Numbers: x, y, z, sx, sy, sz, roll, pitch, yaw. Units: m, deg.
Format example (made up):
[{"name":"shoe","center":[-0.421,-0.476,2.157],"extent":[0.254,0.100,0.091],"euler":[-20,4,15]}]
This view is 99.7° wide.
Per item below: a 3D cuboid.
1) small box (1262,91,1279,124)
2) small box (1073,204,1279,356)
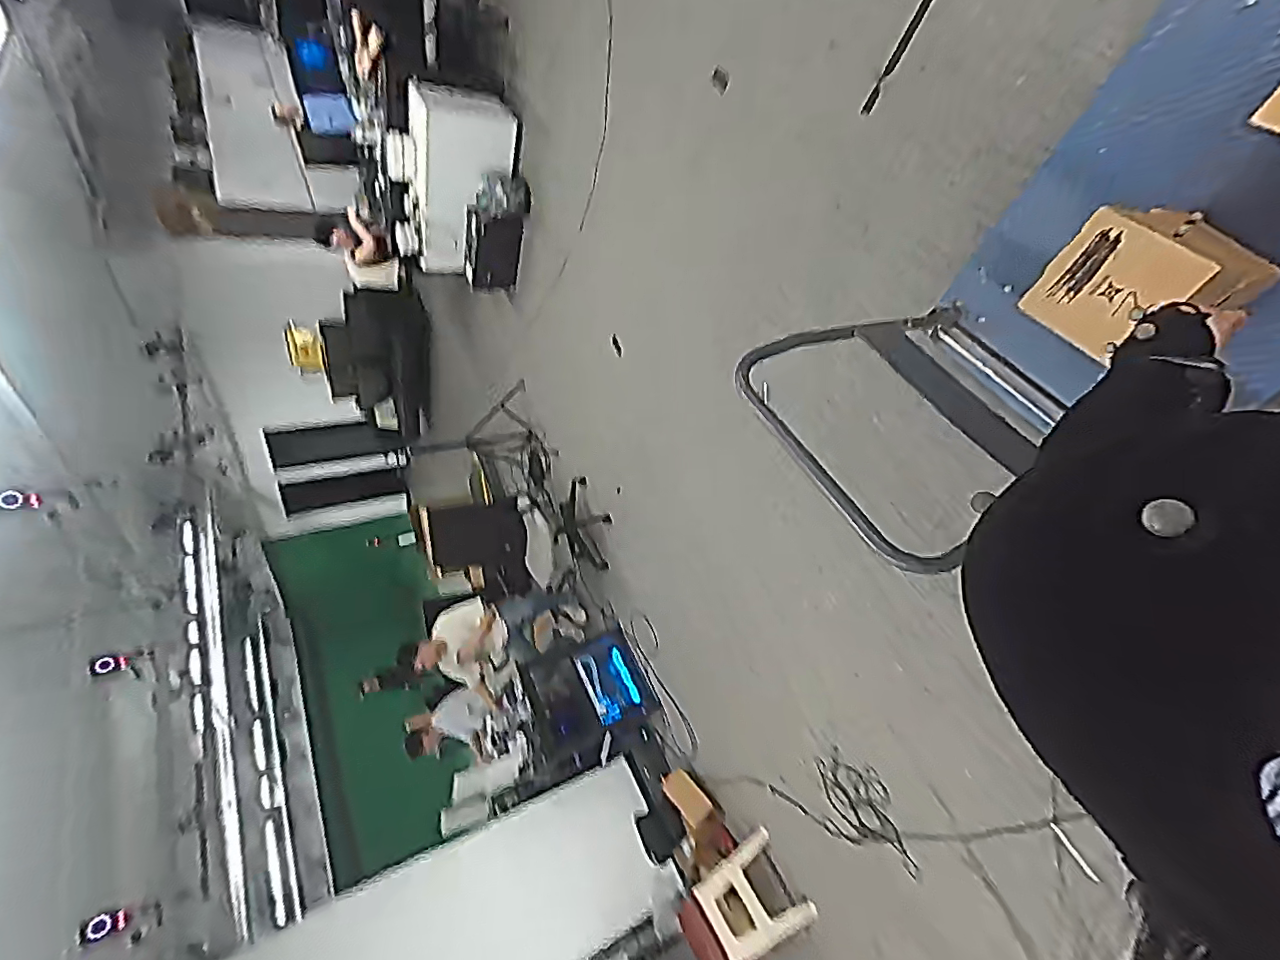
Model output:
[{"name":"small box","center":[0.981,-0.511,0.684],"extent":[0.179,0.176,0.168],"euler":[55,143,32]},{"name":"small box","center":[0.891,-0.327,0.896],"extent":[0.179,0.176,0.168],"euler":[60,146,27]}]
